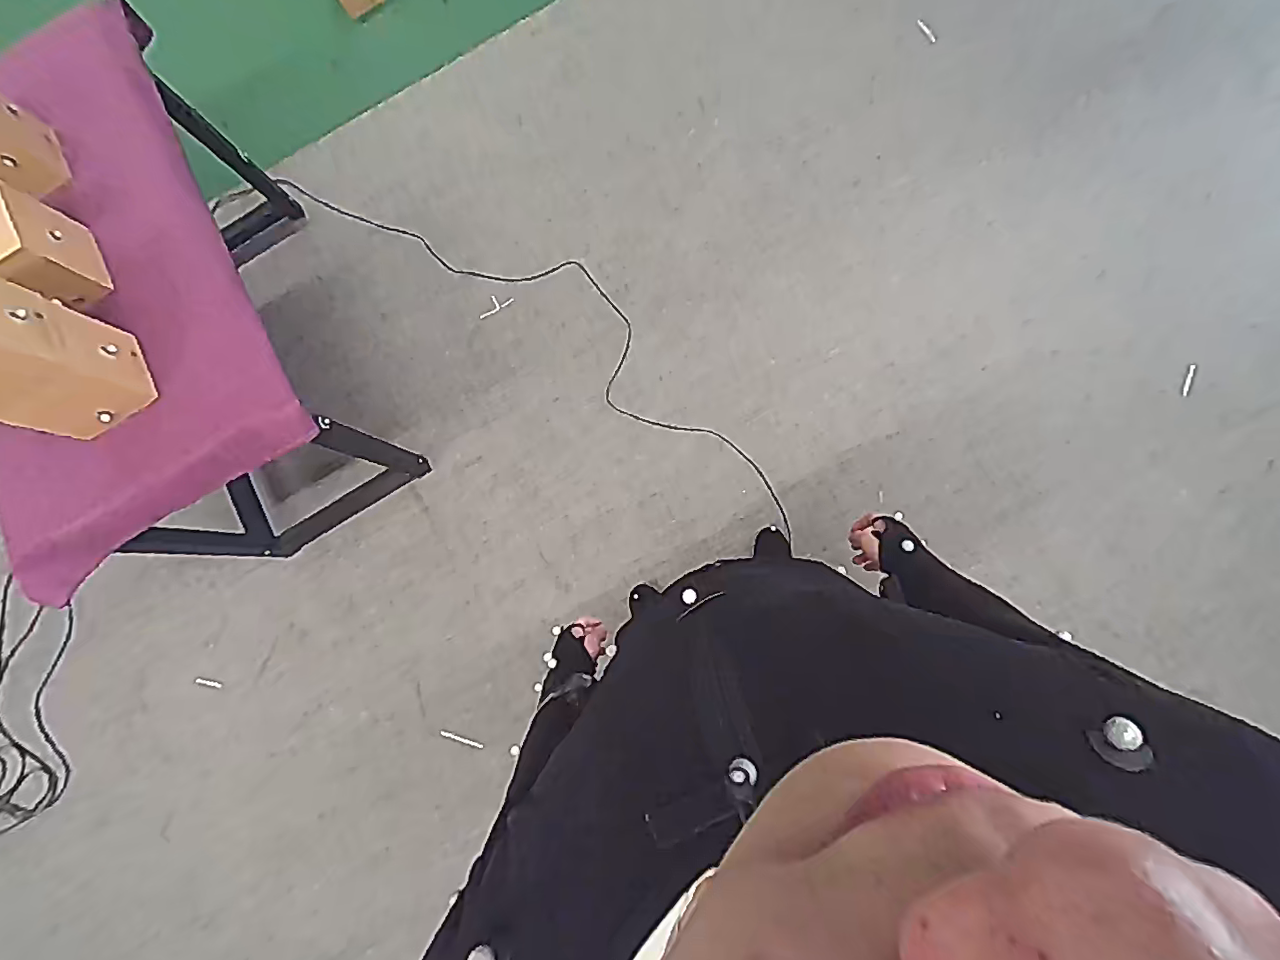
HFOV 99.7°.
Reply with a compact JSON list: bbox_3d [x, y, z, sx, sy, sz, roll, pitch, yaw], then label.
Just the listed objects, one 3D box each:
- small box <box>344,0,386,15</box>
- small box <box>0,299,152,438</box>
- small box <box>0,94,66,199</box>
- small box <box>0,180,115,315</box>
[{"bbox_3d":[-1.097,-1.935,2.062,0.168,0.176,0.179,-30,78,1],"label":"small box"},{"bbox_3d":[-1.102,-0.206,1.045,0.179,0.176,0.168,-31,78,0],"label":"small box"},{"bbox_3d":[-1.405,-0.724,1.166,0.179,0.176,0.168,-30,78,1],"label":"small box"},{"bbox_3d":[-1.245,-0.454,1.102,0.168,0.176,0.179,-31,80,1],"label":"small box"}]
